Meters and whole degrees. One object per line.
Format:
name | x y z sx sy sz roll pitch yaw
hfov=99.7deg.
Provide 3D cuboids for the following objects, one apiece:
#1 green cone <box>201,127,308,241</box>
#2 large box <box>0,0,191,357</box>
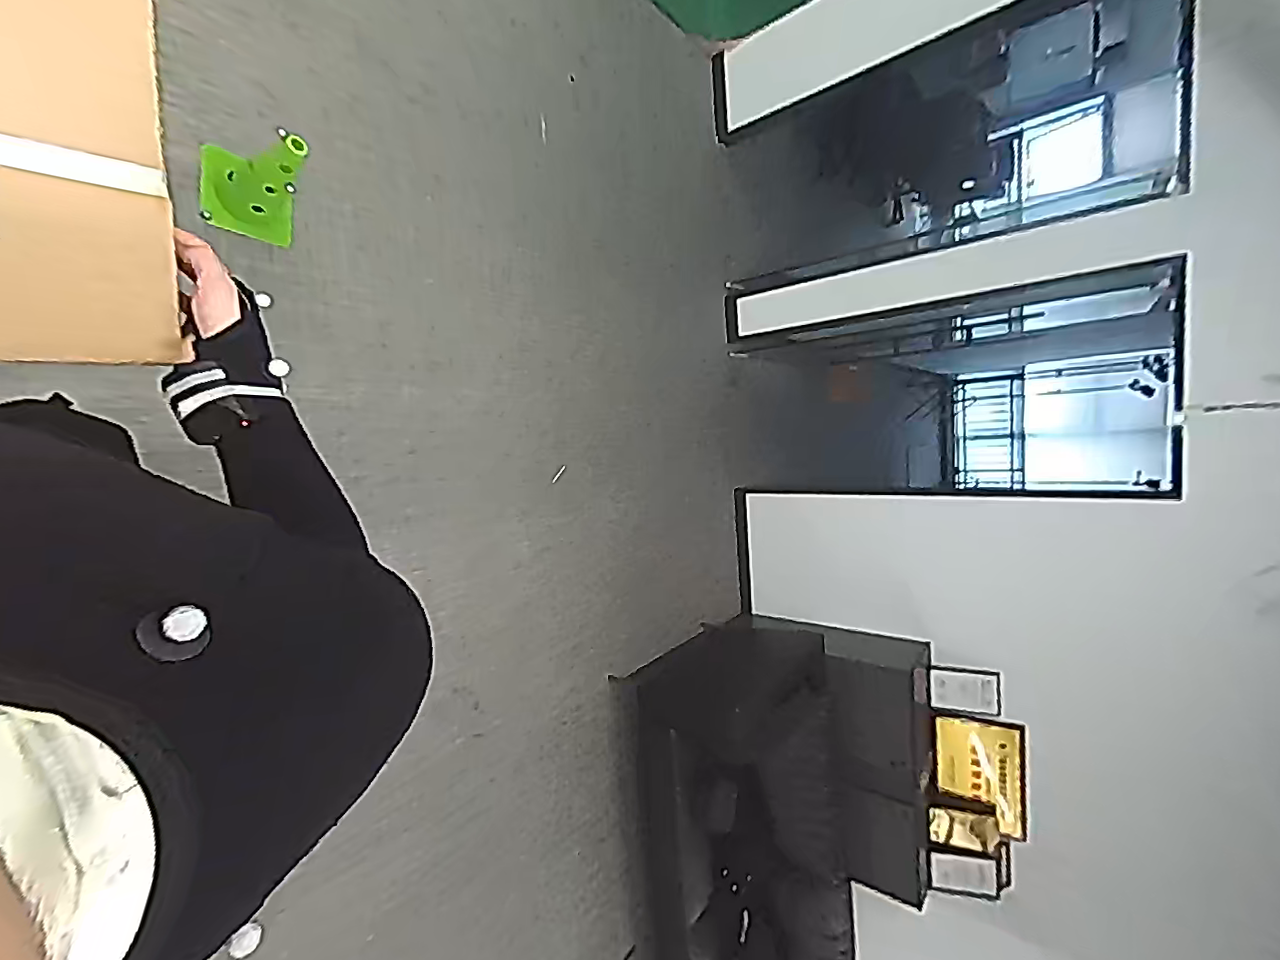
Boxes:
green cone | -0.889 -0.751 1.305 0.200 0.368 0.202 0 89 -51
large box | -0.650 -0.281 0.413 0.408 0.320 0.320 -12 120 -48
